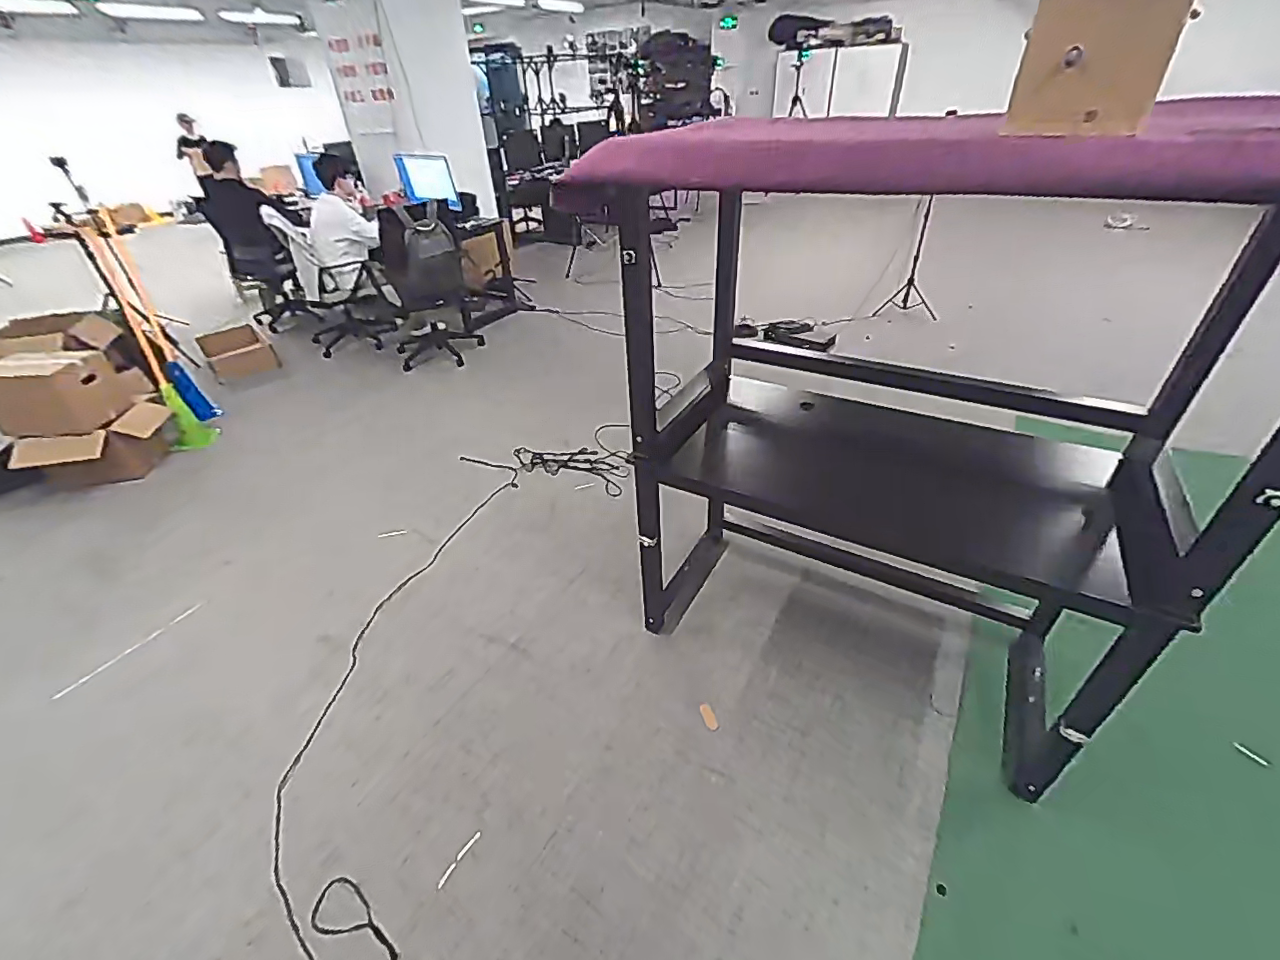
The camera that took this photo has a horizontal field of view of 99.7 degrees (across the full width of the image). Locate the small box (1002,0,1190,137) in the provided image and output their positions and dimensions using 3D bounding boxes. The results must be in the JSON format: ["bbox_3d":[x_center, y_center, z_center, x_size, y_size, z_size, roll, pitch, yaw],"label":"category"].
[{"bbox_3d":[0.644,-0.591,0.770,0.168,0.176,0.179,22,41,30],"label":"small box"}]
